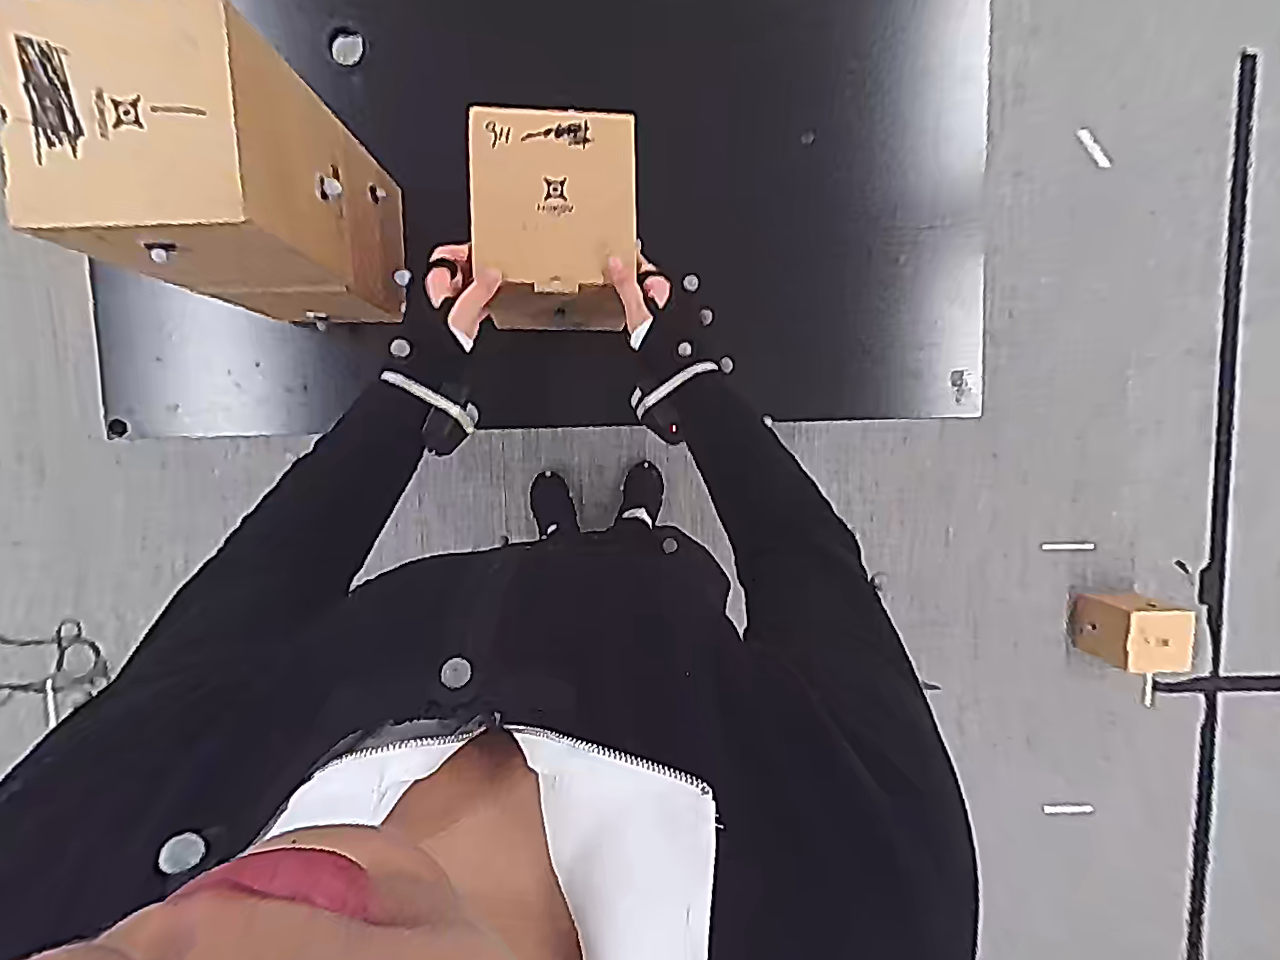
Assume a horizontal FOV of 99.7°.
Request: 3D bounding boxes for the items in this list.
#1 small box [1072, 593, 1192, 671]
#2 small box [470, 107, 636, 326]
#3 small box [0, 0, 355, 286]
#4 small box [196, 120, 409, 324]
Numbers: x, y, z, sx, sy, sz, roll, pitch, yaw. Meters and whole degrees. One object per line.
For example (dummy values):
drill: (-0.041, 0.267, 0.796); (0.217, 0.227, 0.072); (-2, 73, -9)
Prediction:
small box: (1.348, 0.412, 1.490); (0.179, 0.176, 0.168); (0, 94, -2)
small box: (-0.093, -0.280, 0.617); (0.168, 0.176, 0.179); (0, 92, -6)
small box: (-0.386, -0.279, 0.482); (0.179, 0.176, 0.168); (-3, 94, -2)
small box: (-0.392, -0.293, 0.646); (0.168, 0.176, 0.179); (-1, 95, -1)
